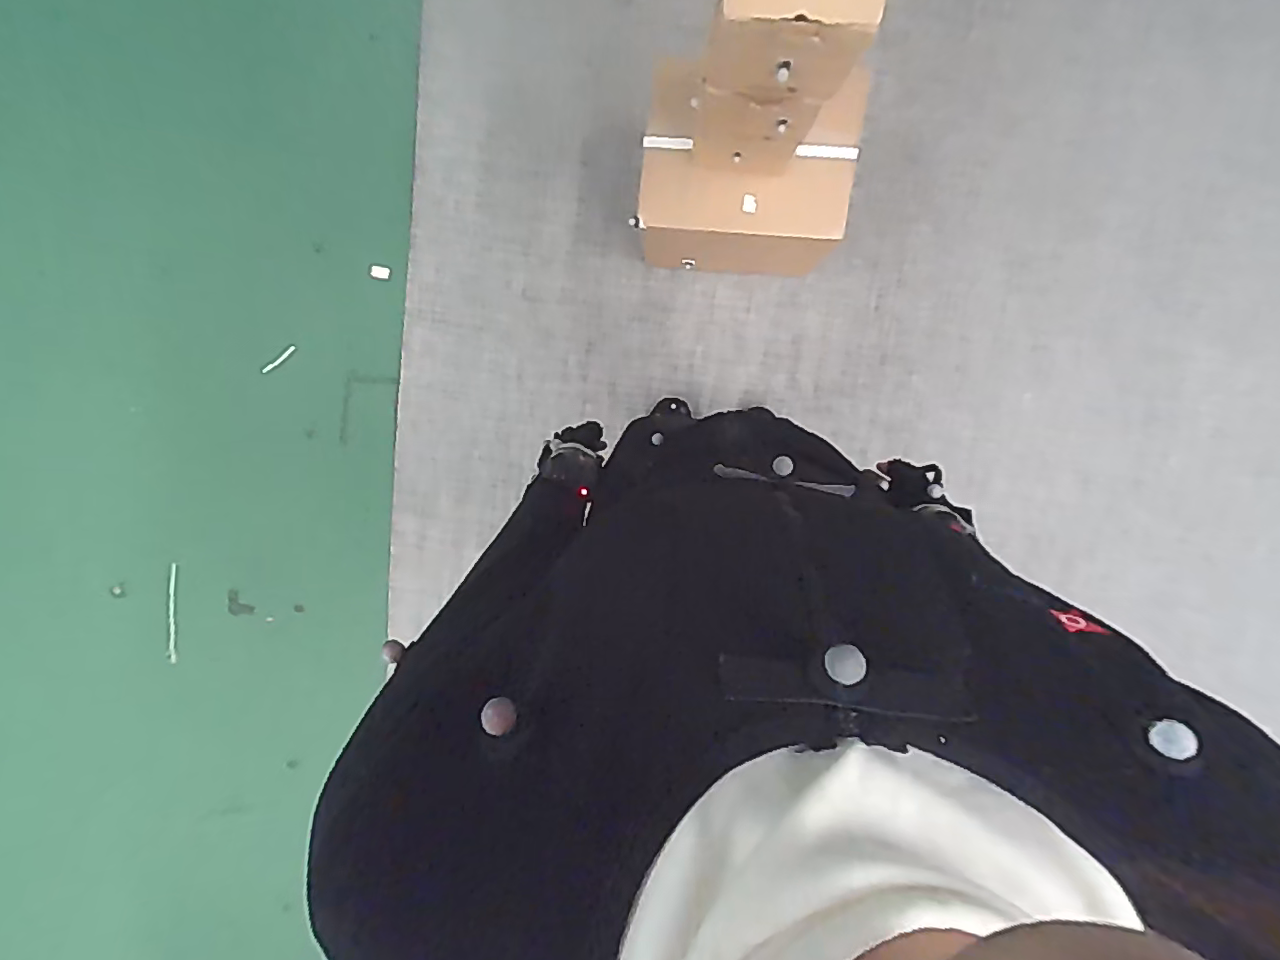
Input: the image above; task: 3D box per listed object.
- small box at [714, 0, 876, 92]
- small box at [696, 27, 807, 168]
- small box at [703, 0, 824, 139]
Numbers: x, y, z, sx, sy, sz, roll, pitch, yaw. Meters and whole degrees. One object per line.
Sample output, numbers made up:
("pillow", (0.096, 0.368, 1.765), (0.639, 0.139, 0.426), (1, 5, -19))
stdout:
("small box", (0.179, -0.583, 0.625), (0.168, 0.176, 0.179), (7, 105, 3))
("small box", (0.195, -0.660, 0.941), (0.179, 0.176, 0.168), (6, 105, 4))
("small box", (0.182, -0.622, 0.784), (0.168, 0.176, 0.179), (6, 103, 3))
